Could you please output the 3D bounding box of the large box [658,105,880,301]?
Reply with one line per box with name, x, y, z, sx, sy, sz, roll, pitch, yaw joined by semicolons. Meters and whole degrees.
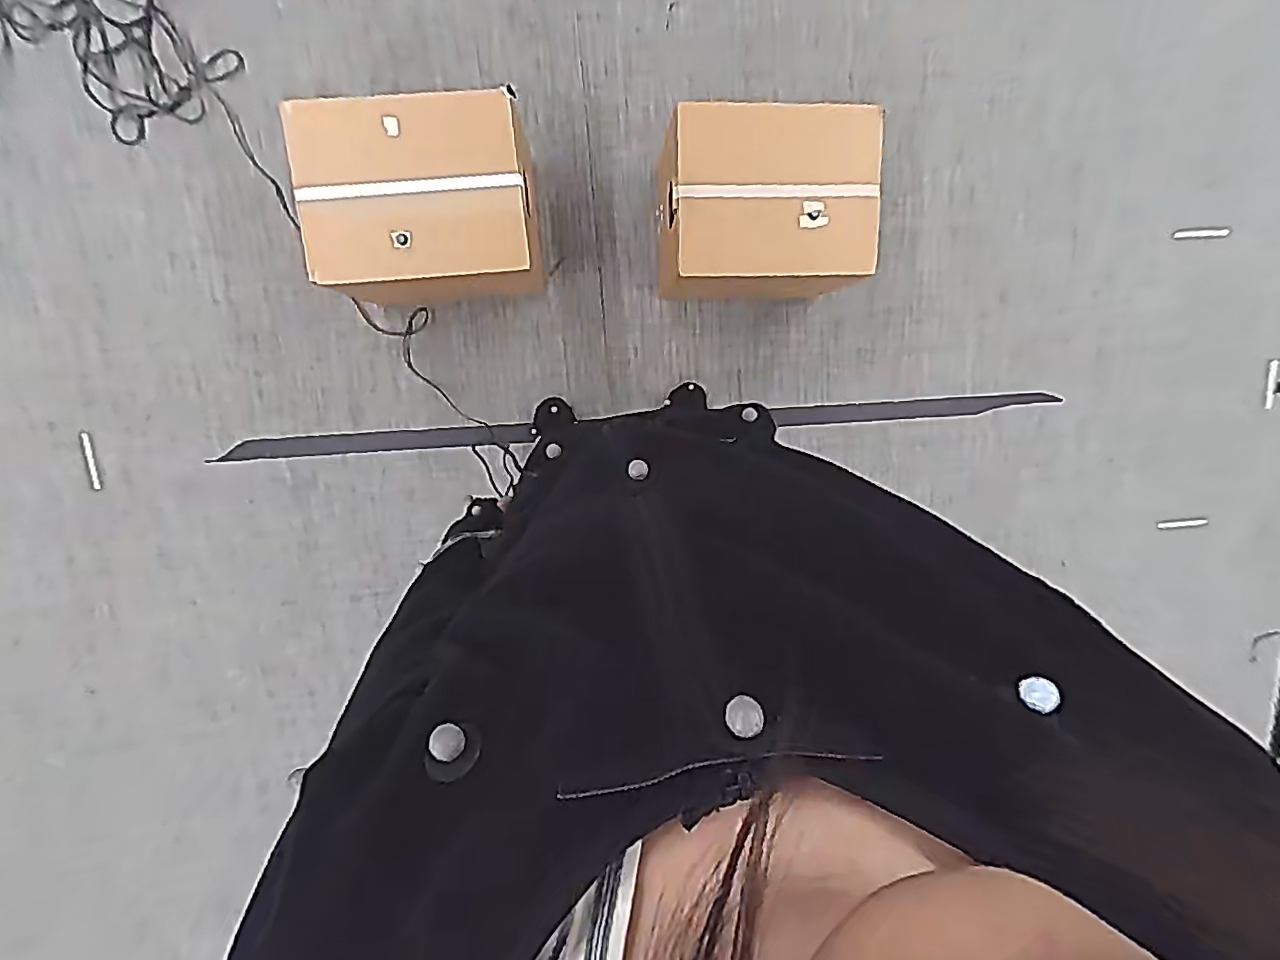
large box;0.259;-0.587;1.204;0.408;0.320;0.320;-2;100;-5
